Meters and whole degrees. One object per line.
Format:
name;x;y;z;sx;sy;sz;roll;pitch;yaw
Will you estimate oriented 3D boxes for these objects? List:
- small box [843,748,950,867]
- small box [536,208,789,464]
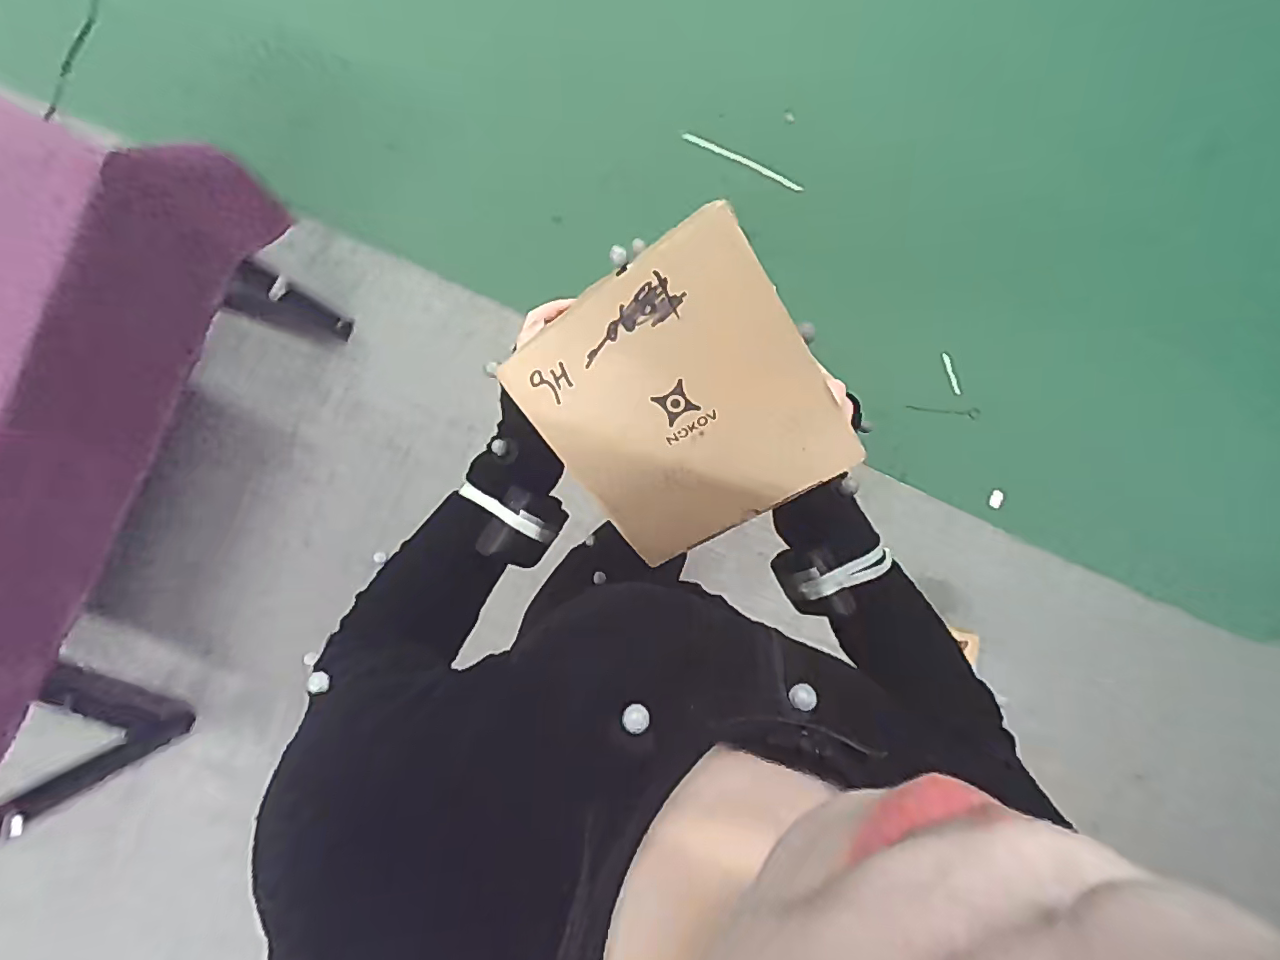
small box;0.656;0.843;1.408;0.168;0.176;0.179;25;88;-2
small box;0.028;-0.150;0.549;0.179;0.176;0.168;-28;111;18
